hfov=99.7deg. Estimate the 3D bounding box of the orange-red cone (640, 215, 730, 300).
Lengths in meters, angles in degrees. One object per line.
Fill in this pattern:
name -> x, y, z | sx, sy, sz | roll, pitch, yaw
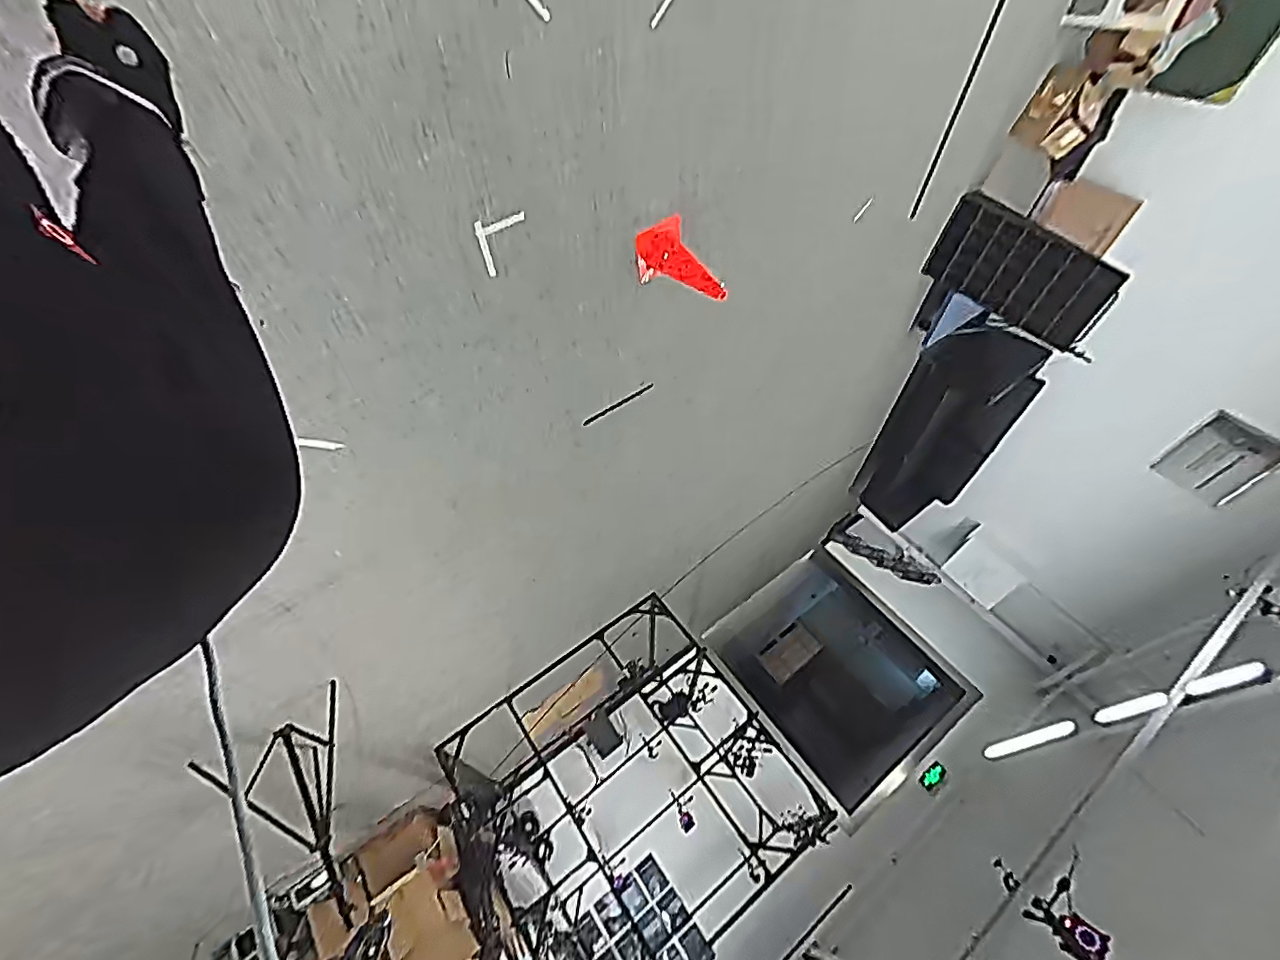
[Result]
orange-red cone -> 0.184, -0.736, 1.892 | 0.199, 0.360, 0.198 | -35, 152, -17
